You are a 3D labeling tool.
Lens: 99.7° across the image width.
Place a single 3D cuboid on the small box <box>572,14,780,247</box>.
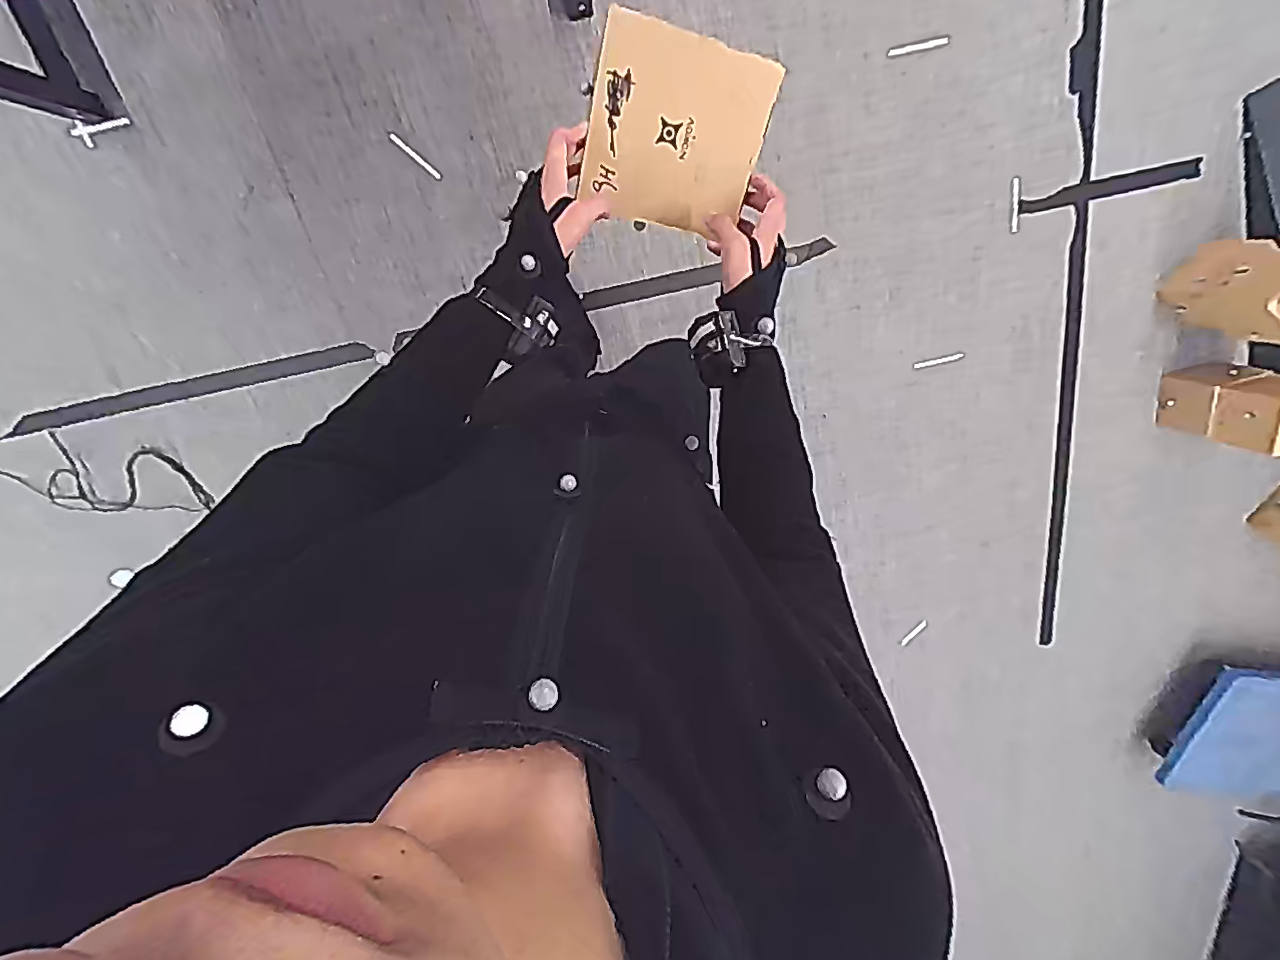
[{"bbox_3d":[0.025,-0.383,0.613,0.179,0.176,0.168,9,120,-13],"label":"small box"}]
